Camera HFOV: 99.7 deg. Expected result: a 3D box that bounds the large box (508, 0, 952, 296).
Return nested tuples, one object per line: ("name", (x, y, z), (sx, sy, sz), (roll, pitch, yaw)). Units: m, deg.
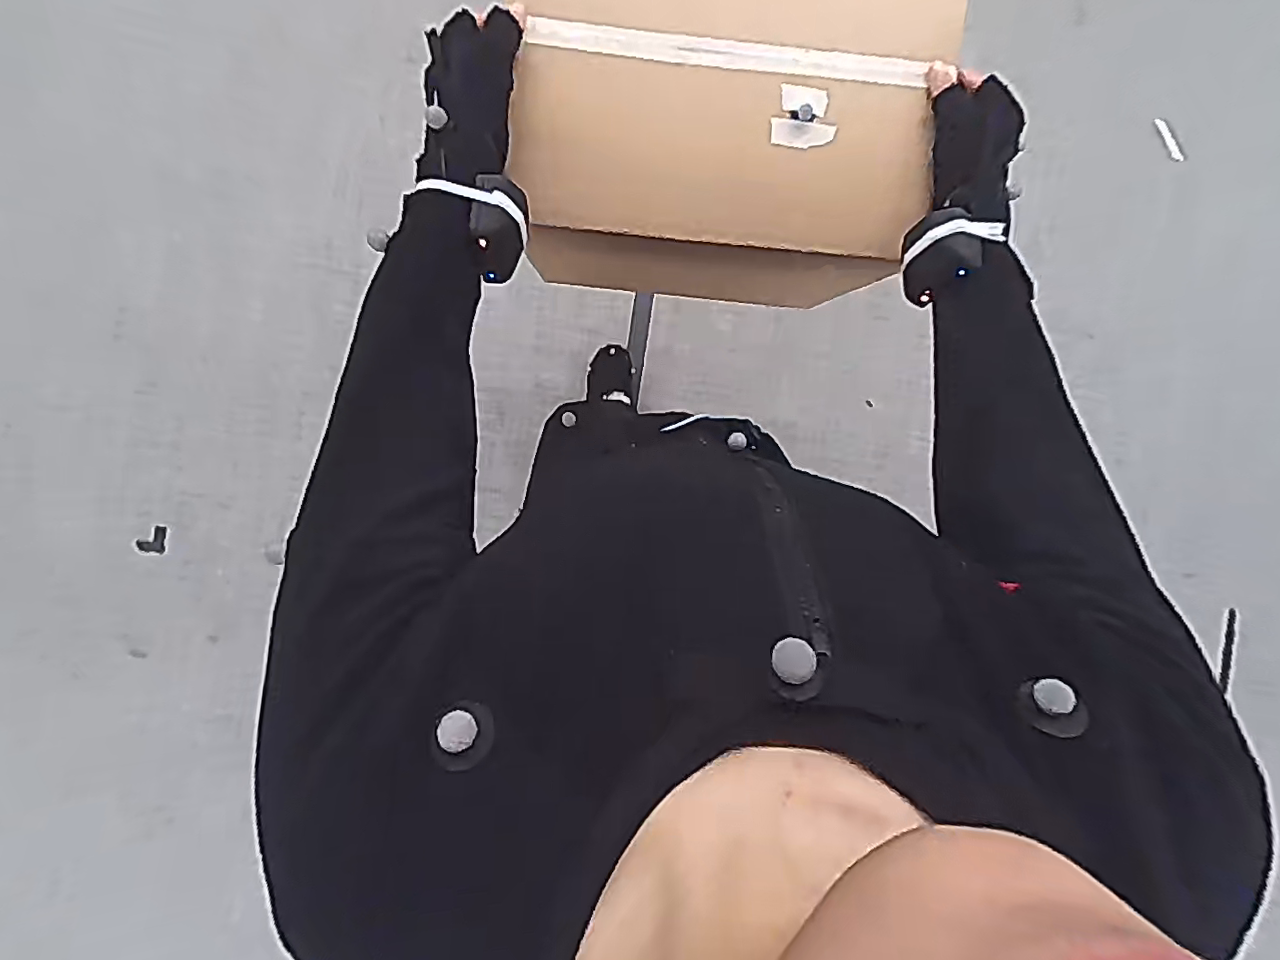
("large box", (0.073, -0.413, 0.639), (0.408, 0.320, 0.320), (4, 100, -4))
